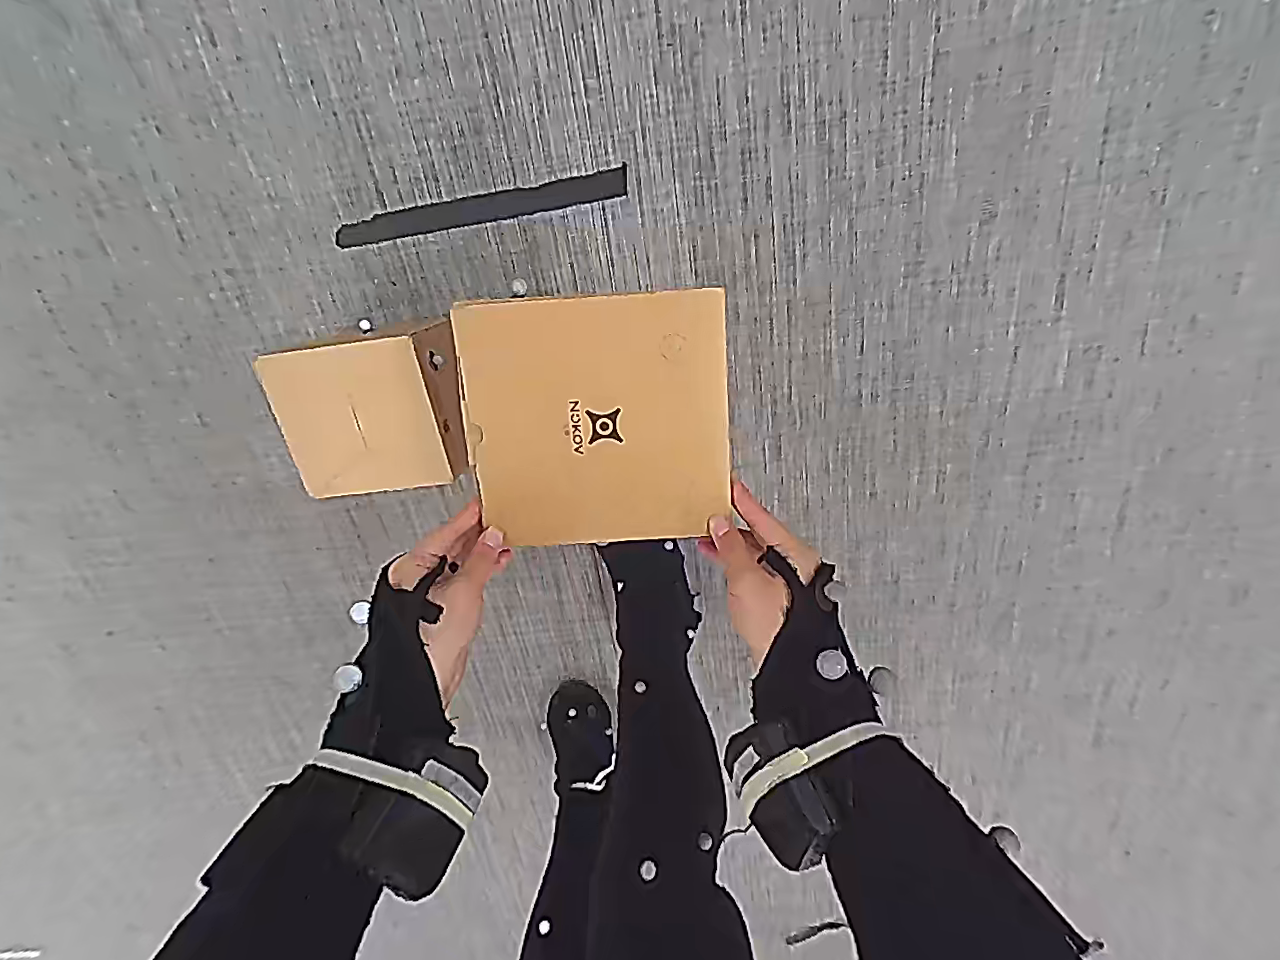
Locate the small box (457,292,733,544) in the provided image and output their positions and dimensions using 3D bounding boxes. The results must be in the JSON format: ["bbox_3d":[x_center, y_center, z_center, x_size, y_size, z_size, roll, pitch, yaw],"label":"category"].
[{"bbox_3d":[-0.025,-0.059,0.439,0.179,0.176,0.168,-4,105,2],"label":"small box"}]

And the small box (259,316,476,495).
[{"bbox_3d":[-0.300,-0.093,0.655,0.179,0.176,0.168,-6,113,4],"label":"small box"}]
